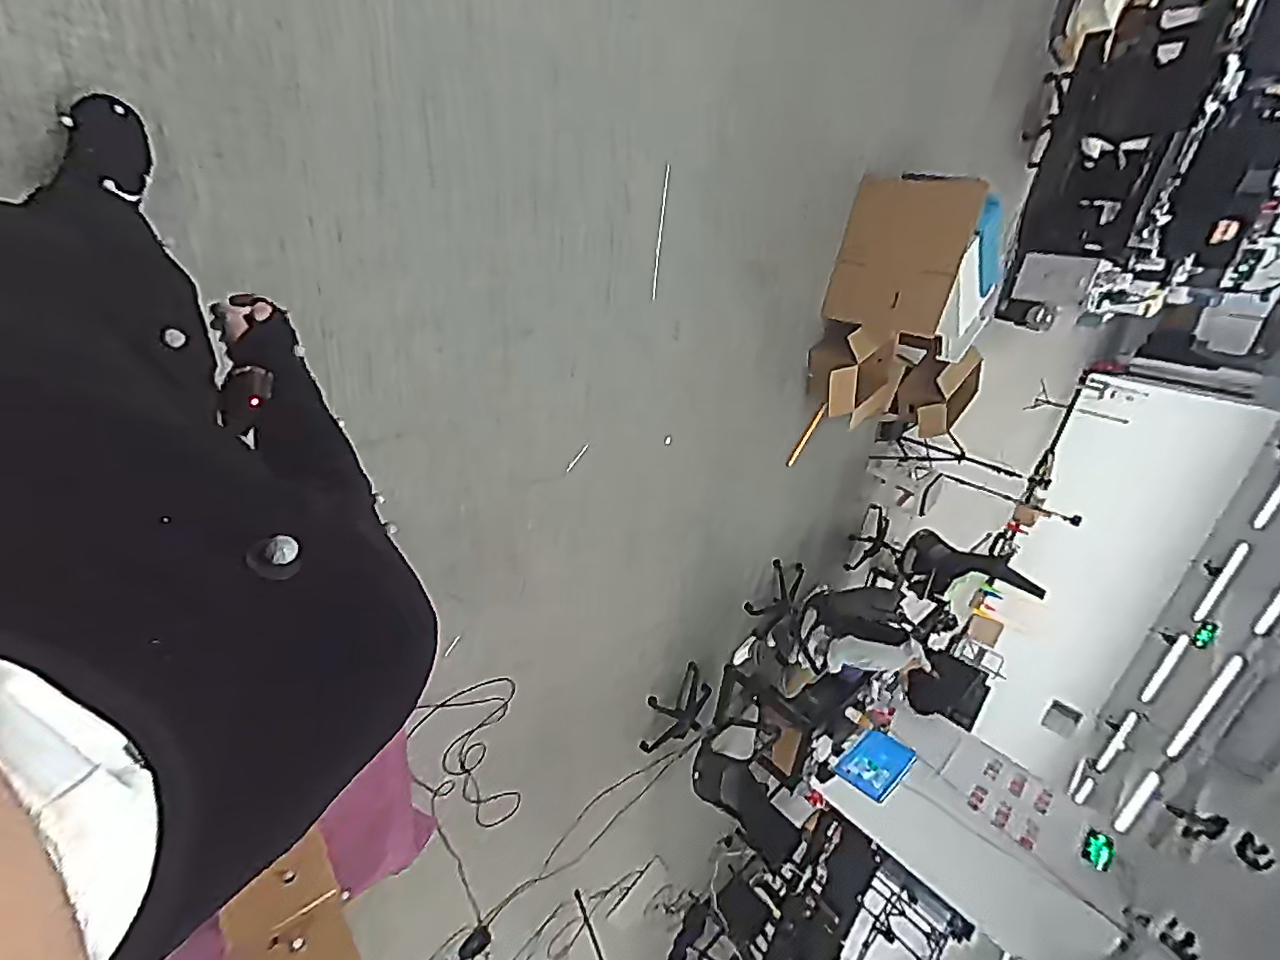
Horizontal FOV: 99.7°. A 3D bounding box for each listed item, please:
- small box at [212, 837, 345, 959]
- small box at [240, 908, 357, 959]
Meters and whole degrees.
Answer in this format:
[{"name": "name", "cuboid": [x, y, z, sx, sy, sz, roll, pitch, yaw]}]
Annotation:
[{"name": "small box", "cuboid": [-0.667, 0.814, 1.006, 0.168, 0.176, 0.179, -18, 124, -40]}, {"name": "small box", "cuboid": [-0.561, 0.877, 0.897, 0.168, 0.176, 0.179, -13, 119, -42]}]
